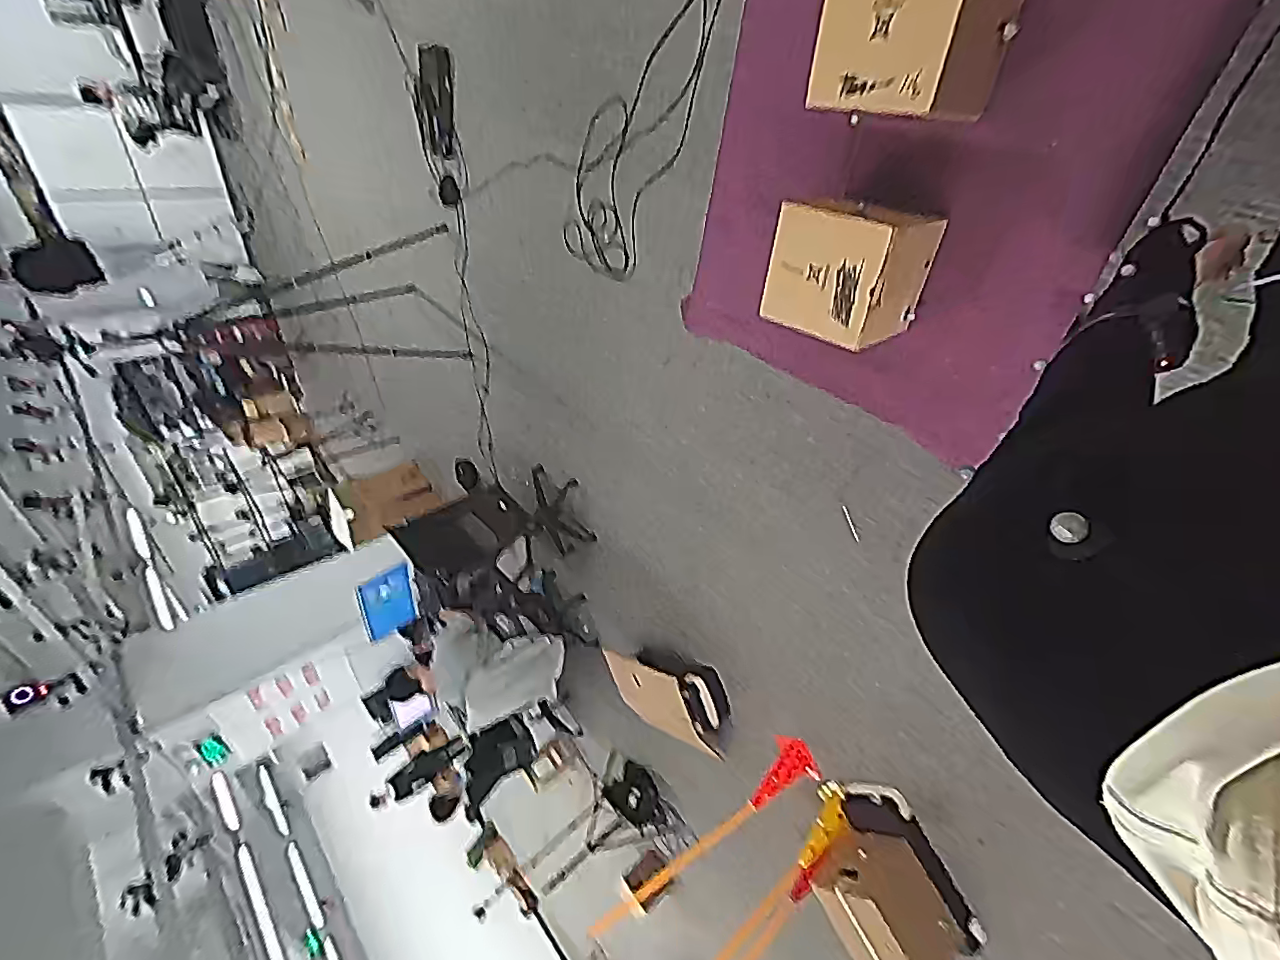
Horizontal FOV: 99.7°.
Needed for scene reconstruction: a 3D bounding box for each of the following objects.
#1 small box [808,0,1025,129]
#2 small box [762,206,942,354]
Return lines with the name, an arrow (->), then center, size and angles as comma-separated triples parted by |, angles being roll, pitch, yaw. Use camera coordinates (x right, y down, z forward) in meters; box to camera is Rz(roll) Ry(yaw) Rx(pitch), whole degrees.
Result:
small box -> 0.340, -0.544, 0.661 | 0.168, 0.176, 0.179 | 34, 134, 35
small box -> 0.319, -0.312, 0.821 | 0.179, 0.176, 0.168 | 35, 134, 35
